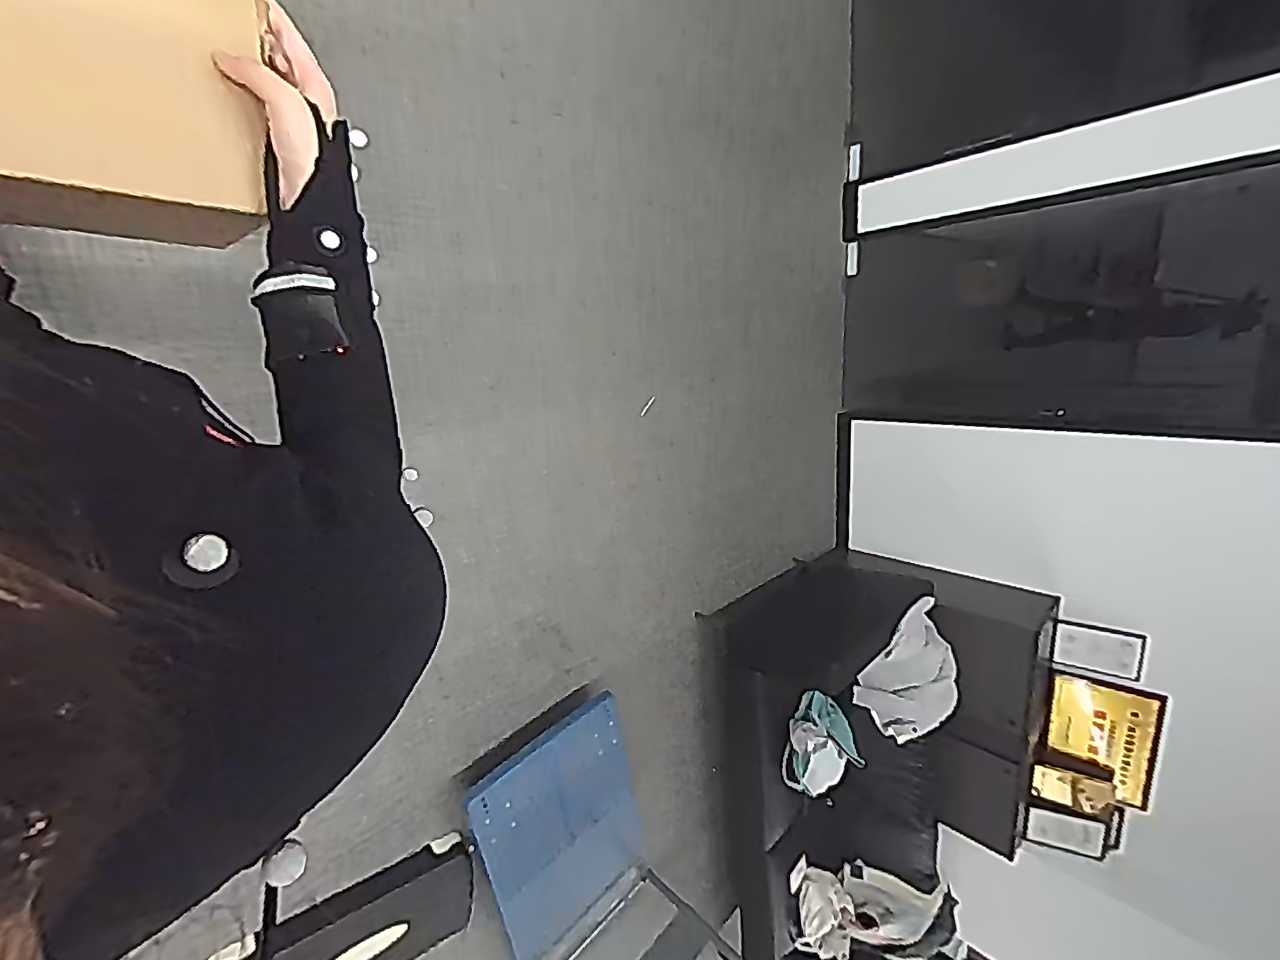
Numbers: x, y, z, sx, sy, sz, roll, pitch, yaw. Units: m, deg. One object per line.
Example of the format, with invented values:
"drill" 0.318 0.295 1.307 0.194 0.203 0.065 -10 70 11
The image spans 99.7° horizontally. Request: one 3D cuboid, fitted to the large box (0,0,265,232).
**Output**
"large box" -0.537 -0.369 0.368 0.408 0.320 0.320 -11 110 -41
